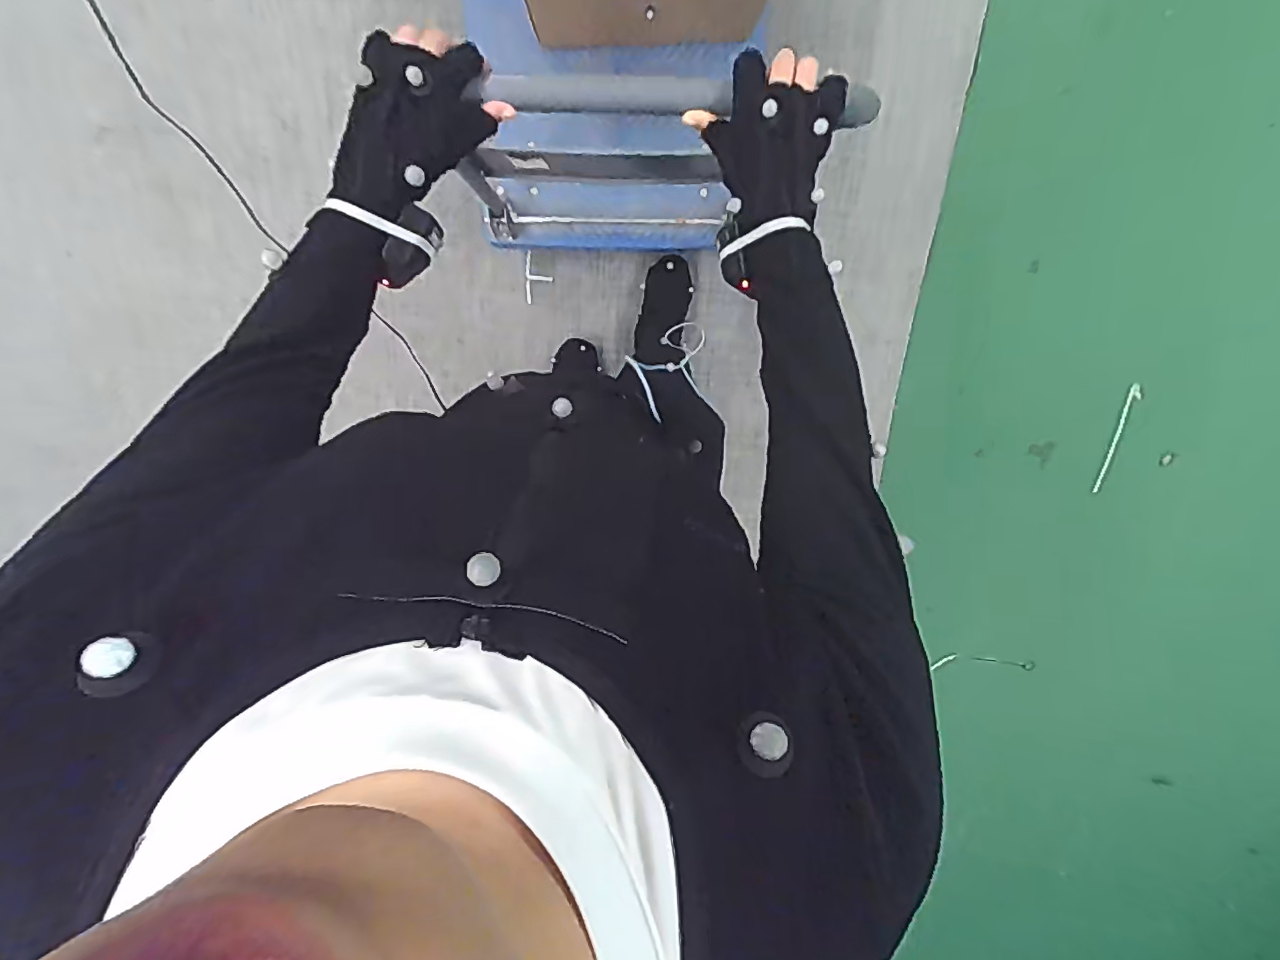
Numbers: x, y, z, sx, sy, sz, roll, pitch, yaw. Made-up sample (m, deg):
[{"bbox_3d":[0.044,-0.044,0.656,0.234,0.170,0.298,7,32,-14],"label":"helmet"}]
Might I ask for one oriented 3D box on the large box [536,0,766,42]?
[{"bbox_3d":[0.016,-0.954,0.858,0.408,0.320,0.320,-4,109,1],"label":"large box"}]
